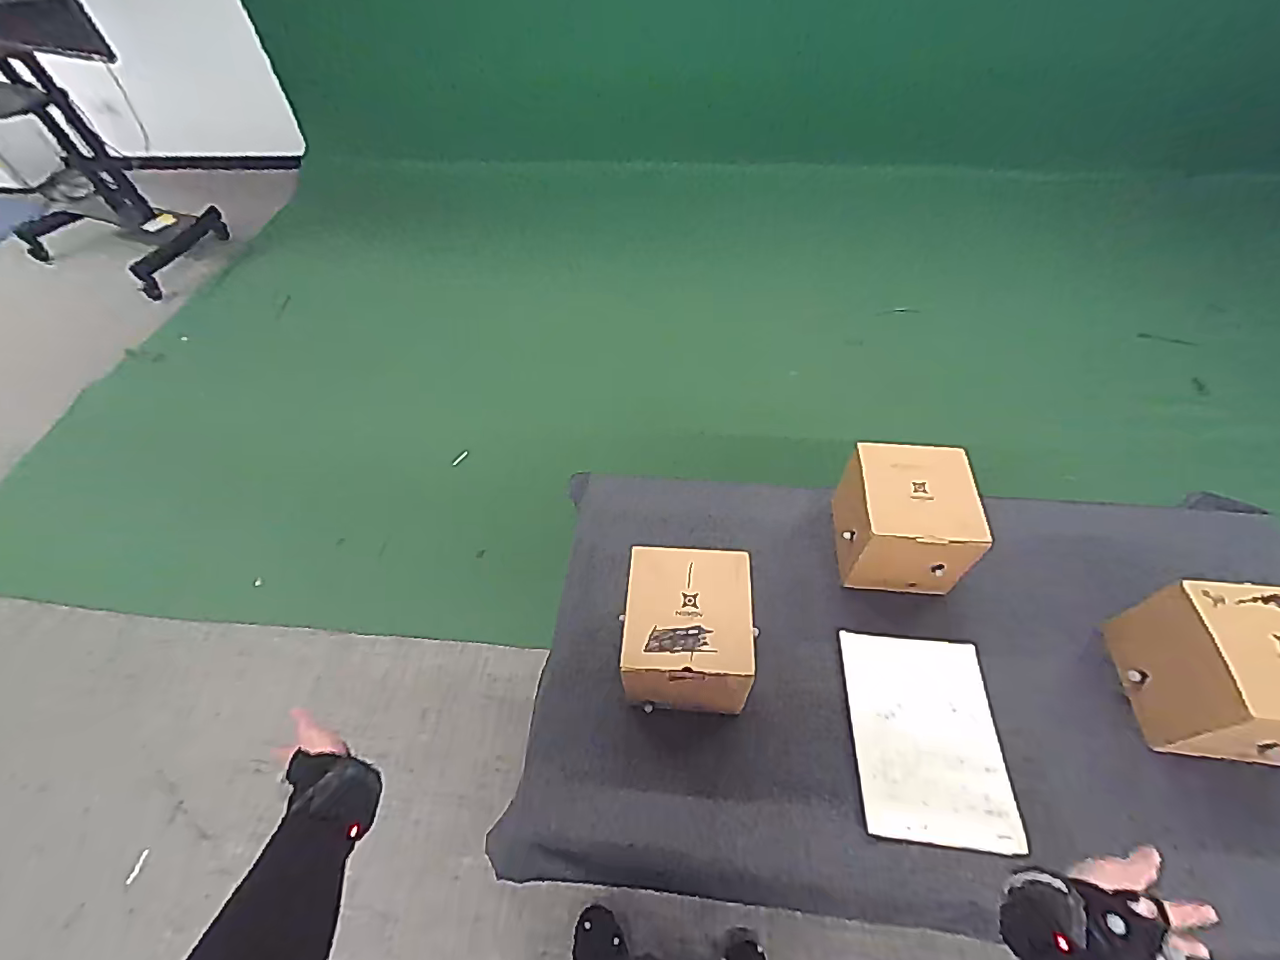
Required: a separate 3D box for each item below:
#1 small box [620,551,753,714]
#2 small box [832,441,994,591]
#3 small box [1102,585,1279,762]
[{"bbox_3d":[0.067,0.221,0.771,0.168,0.176,0.179,3,53,4],"label":"small box"},{"bbox_3d":[0.415,0.061,0.858,0.168,0.176,0.179,4,53,4],"label":"small box"},{"bbox_3d":[0.771,0.257,0.709,0.168,0.176,0.179,4,54,6],"label":"small box"}]
